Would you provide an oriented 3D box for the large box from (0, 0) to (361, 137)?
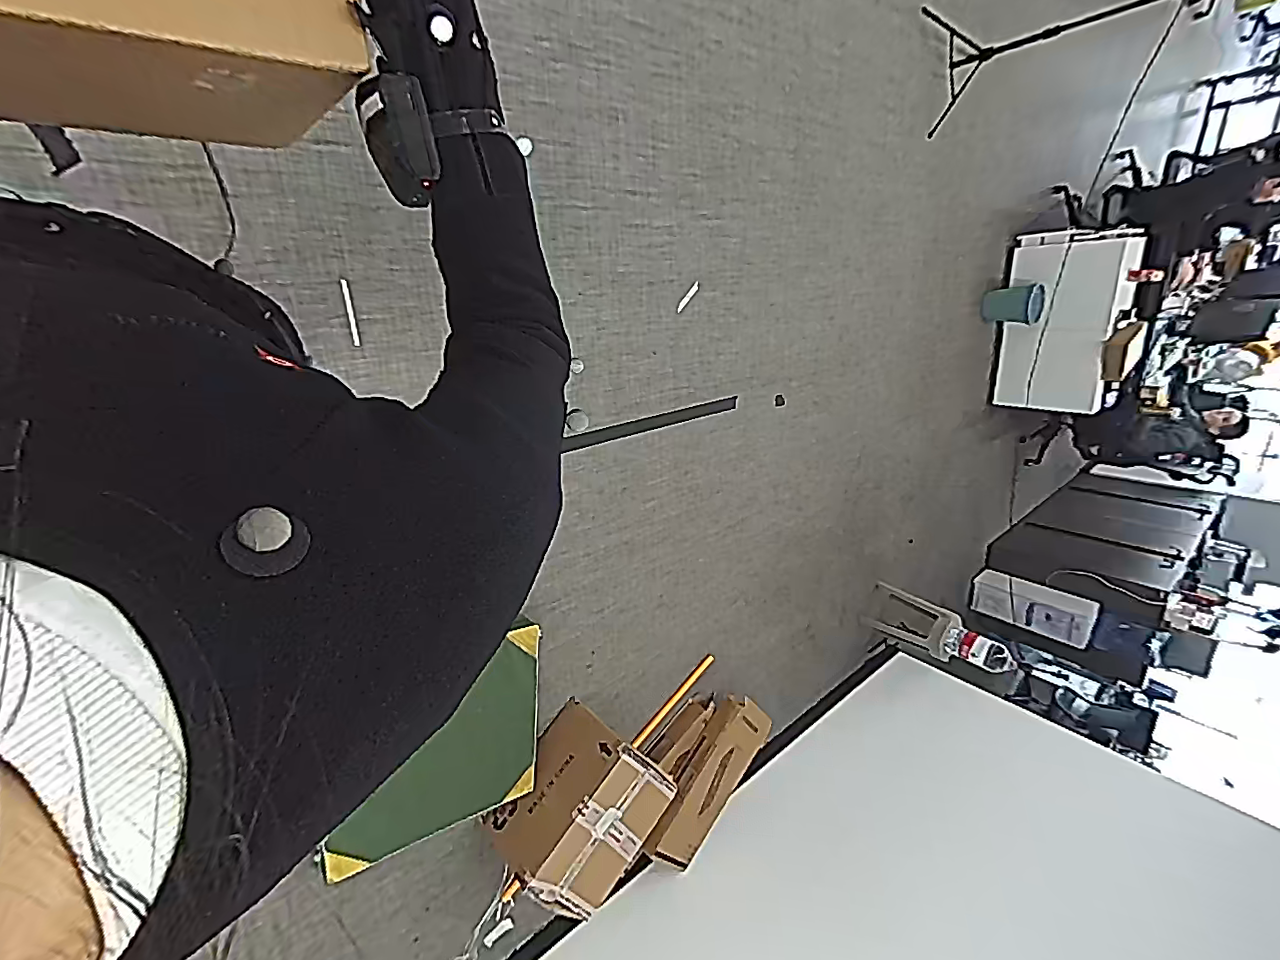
[{"bbox_3d":[-0.427,-0.393,0.275,0.408,0.320,0.320,-19,120,-36],"label":"large box"}]
